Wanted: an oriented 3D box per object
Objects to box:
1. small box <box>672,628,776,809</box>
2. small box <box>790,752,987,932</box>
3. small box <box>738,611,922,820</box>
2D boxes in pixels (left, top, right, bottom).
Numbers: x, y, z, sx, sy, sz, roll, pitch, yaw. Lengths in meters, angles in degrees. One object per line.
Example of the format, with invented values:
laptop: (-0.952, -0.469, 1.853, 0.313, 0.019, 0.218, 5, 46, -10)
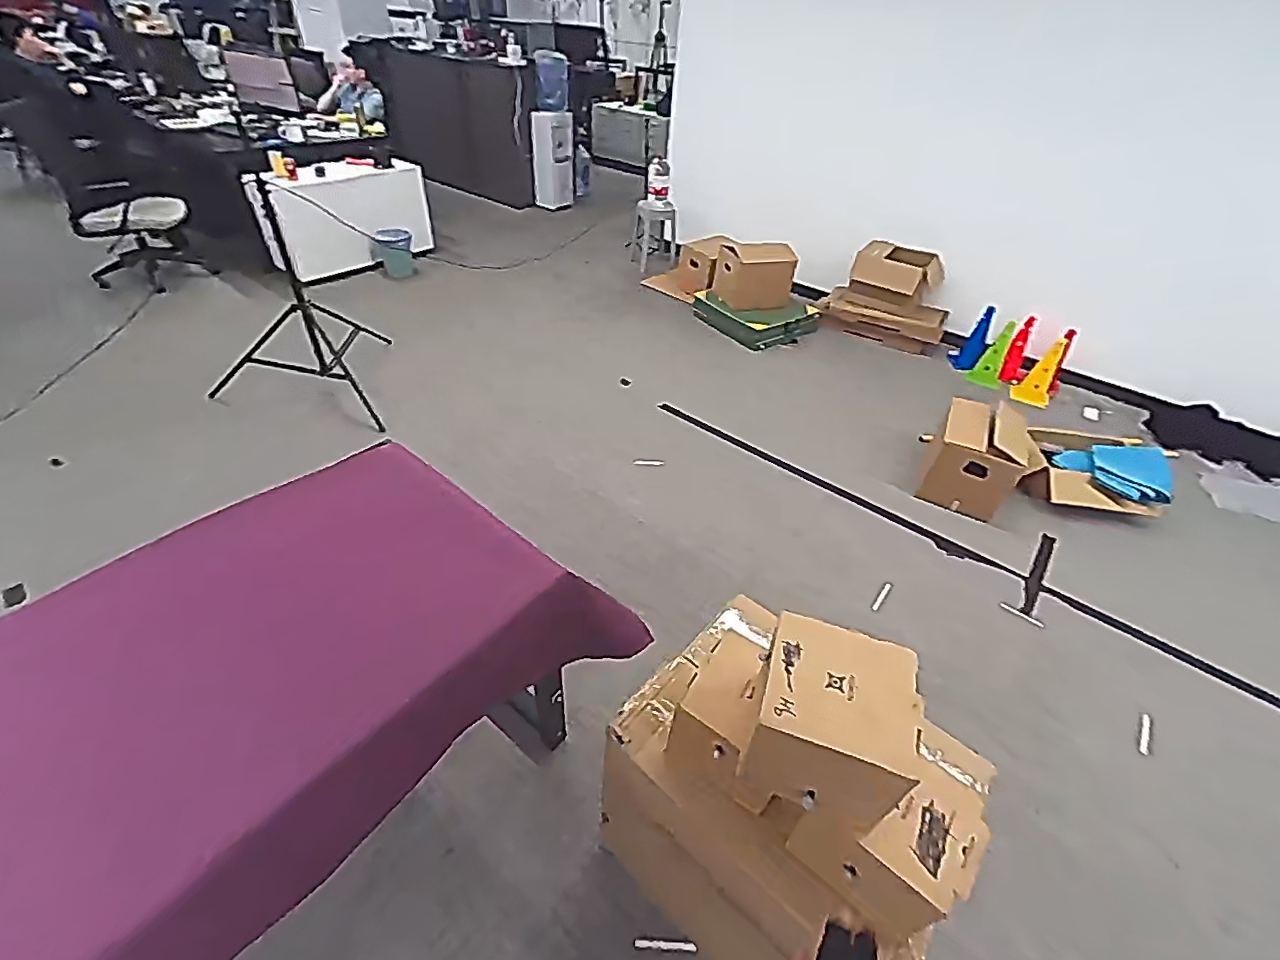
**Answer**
small box: (0.166, 0.380, 0.858, 0.179, 0.176, 0.168, 28, 47, 23)
small box: (0.337, 0.480, 0.754, 0.179, 0.176, 0.168, 30, 47, 29)
small box: (0.240, 0.306, 0.699, 0.179, 0.176, 0.168, 16, 42, 13)
